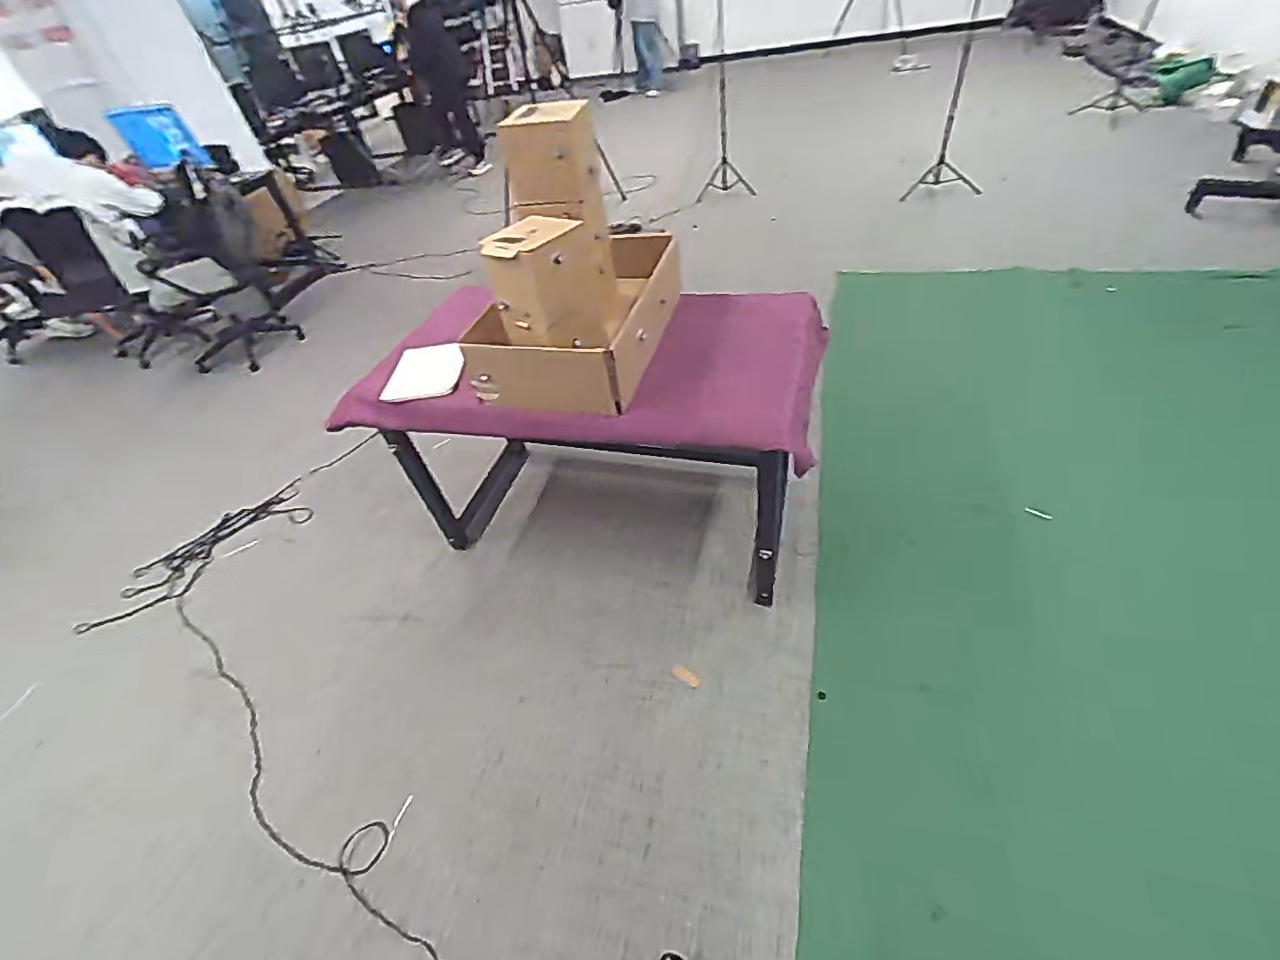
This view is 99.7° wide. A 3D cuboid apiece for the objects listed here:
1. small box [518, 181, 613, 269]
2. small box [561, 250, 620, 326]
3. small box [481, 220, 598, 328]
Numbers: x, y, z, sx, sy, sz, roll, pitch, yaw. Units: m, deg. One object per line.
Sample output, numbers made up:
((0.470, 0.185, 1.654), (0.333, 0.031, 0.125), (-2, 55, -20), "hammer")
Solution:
((-0.187, -0.660, 1.415), (0.179, 0.176, 0.168), (5, 48, 16), "small box")
((-0.167, -0.552, 1.533), (0.168, 0.176, 0.179), (7, 49, 18), "small box")
((-0.216, -0.462, 1.214), (0.168, 0.176, 0.179), (23, 52, 32), "small box")
